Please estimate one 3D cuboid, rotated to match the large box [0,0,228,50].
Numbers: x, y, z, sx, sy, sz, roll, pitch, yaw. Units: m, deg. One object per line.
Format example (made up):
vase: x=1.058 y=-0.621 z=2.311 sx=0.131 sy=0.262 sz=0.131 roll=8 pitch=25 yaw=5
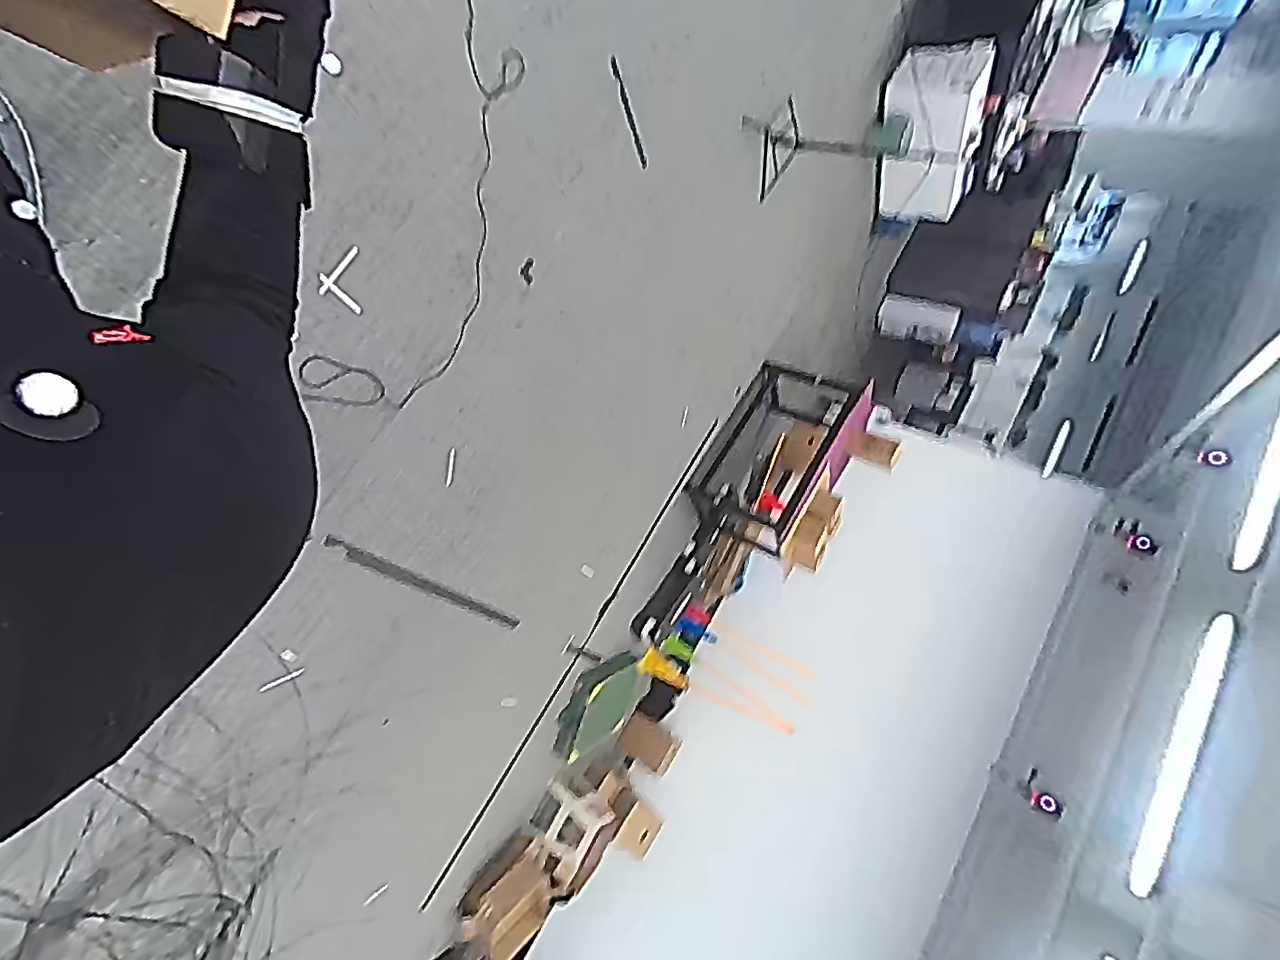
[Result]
large box: x=-0.443 y=-0.476 z=0.220 sx=0.408 sy=0.320 sz=0.320 roll=1 pitch=110 yaw=-57
